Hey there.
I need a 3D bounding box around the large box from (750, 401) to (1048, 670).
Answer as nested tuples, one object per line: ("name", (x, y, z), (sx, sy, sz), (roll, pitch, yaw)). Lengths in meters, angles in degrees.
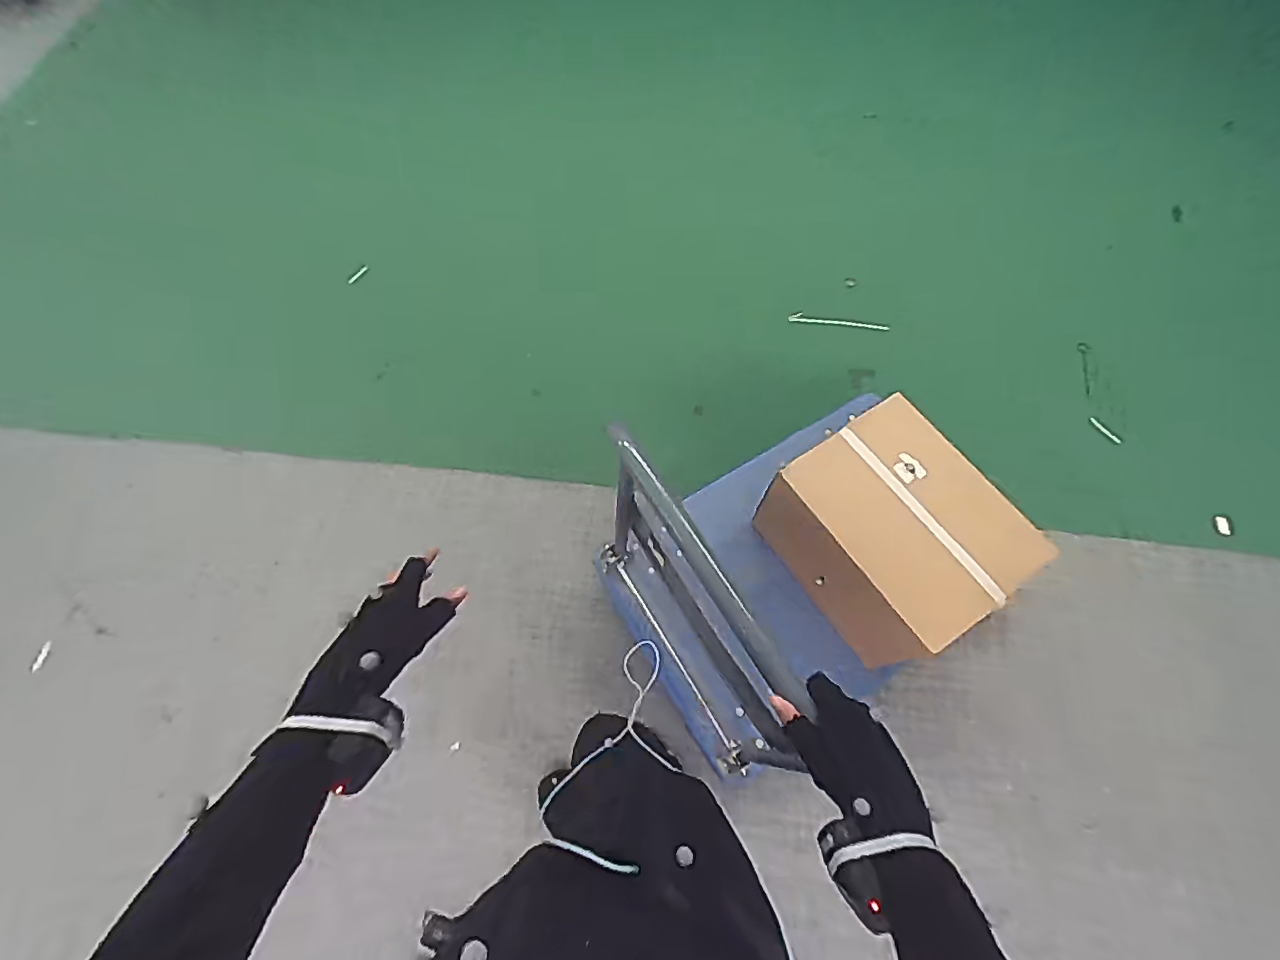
("large box", (0.488, 0.126, 1.120), (0.320, 0.320, 0.408), (-31, 68, -12))
